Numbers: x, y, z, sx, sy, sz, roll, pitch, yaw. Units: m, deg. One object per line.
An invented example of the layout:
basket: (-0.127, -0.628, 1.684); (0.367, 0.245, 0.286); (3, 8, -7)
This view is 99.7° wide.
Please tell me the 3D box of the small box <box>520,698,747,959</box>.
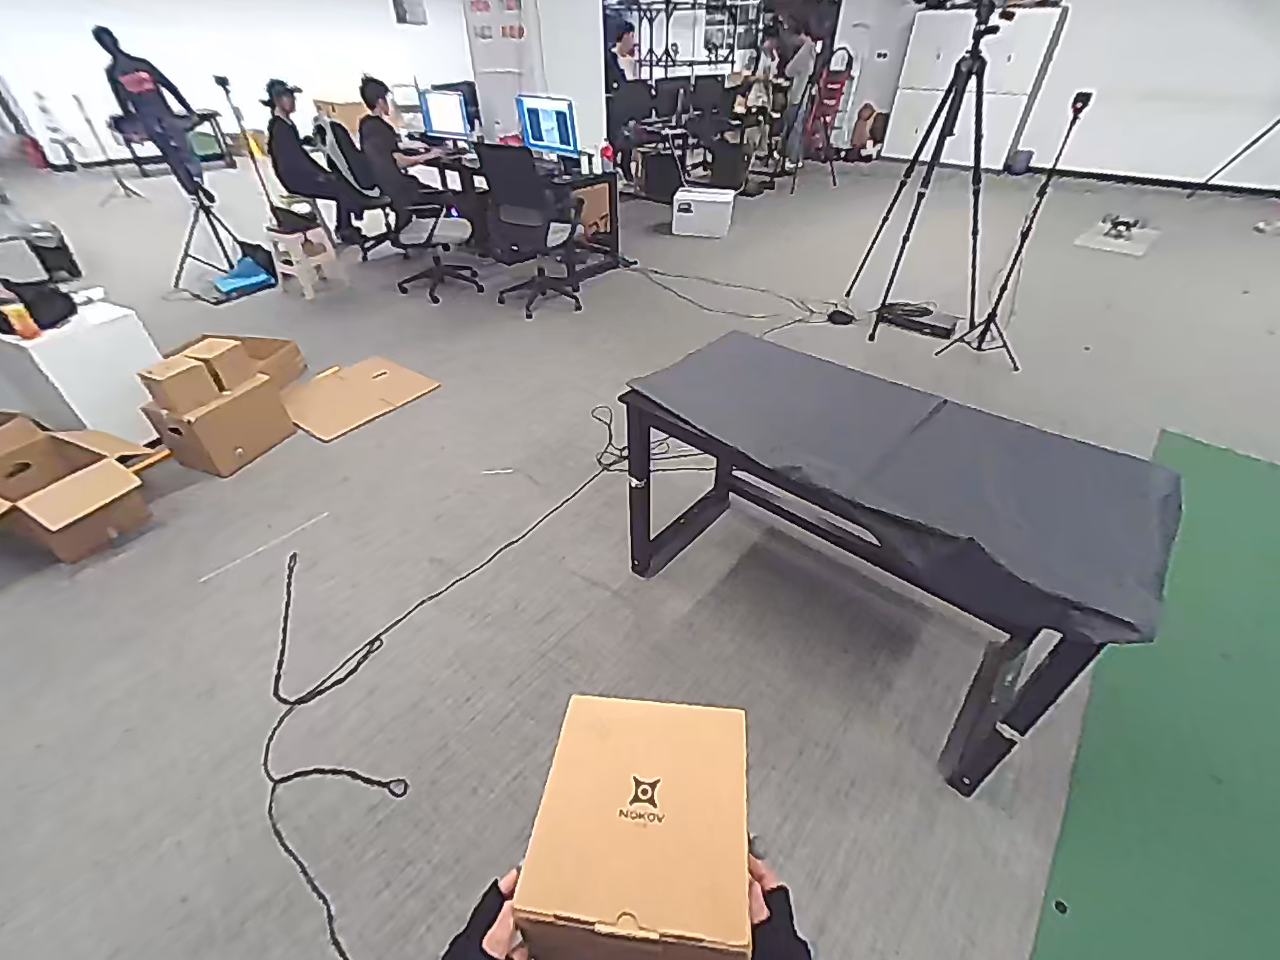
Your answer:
small box: (0.008, 0.331, 0.490); (0.168, 0.176, 0.179); (2, 35, 9)
